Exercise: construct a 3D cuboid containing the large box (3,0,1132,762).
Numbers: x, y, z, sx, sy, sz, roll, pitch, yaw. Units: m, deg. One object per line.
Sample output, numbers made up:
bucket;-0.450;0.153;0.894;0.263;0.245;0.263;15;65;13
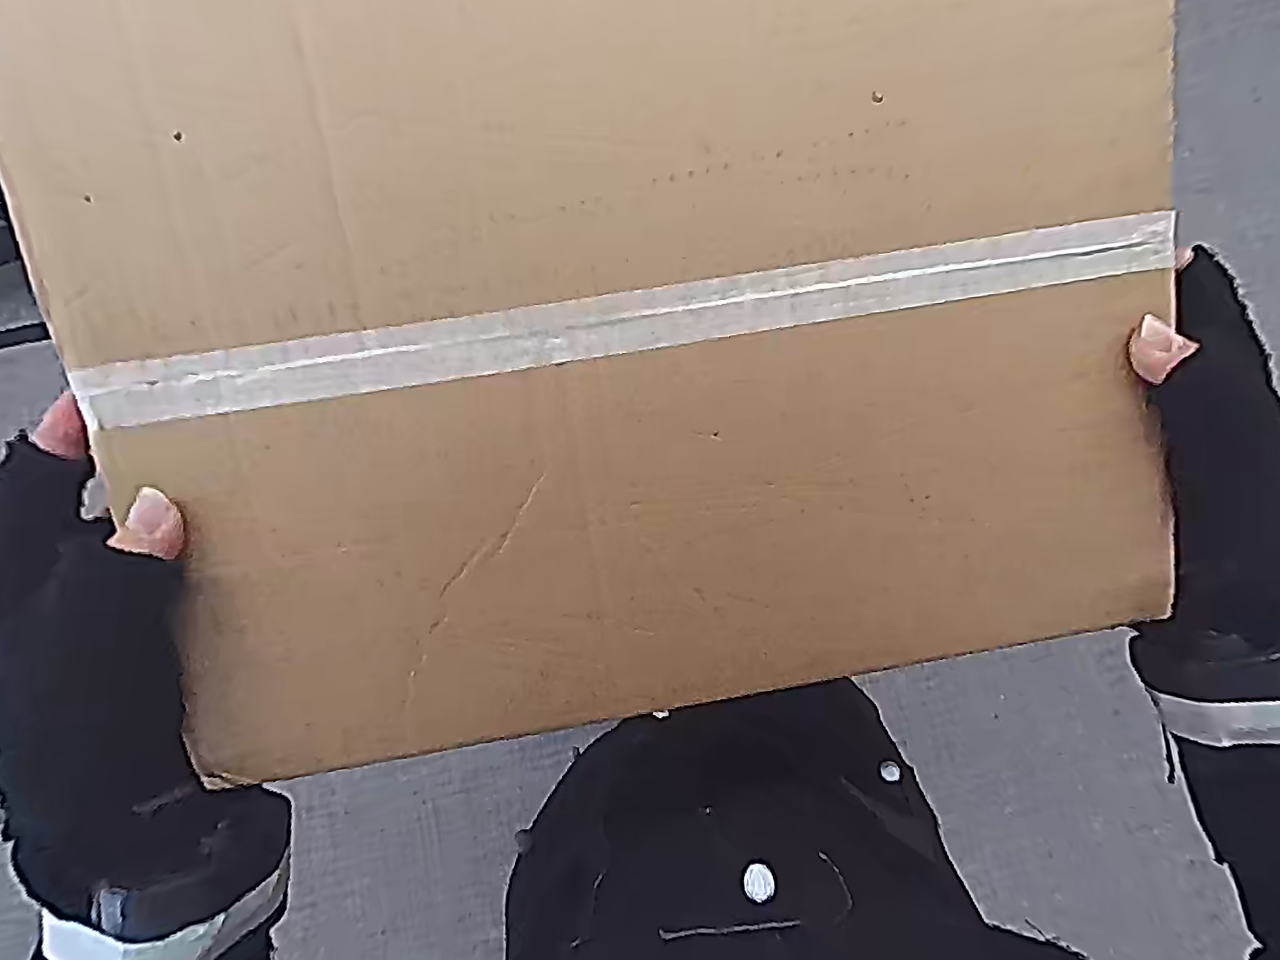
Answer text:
large box;-0.007;-0.084;0.359;0.408;0.320;0.320;-9;99;-3
